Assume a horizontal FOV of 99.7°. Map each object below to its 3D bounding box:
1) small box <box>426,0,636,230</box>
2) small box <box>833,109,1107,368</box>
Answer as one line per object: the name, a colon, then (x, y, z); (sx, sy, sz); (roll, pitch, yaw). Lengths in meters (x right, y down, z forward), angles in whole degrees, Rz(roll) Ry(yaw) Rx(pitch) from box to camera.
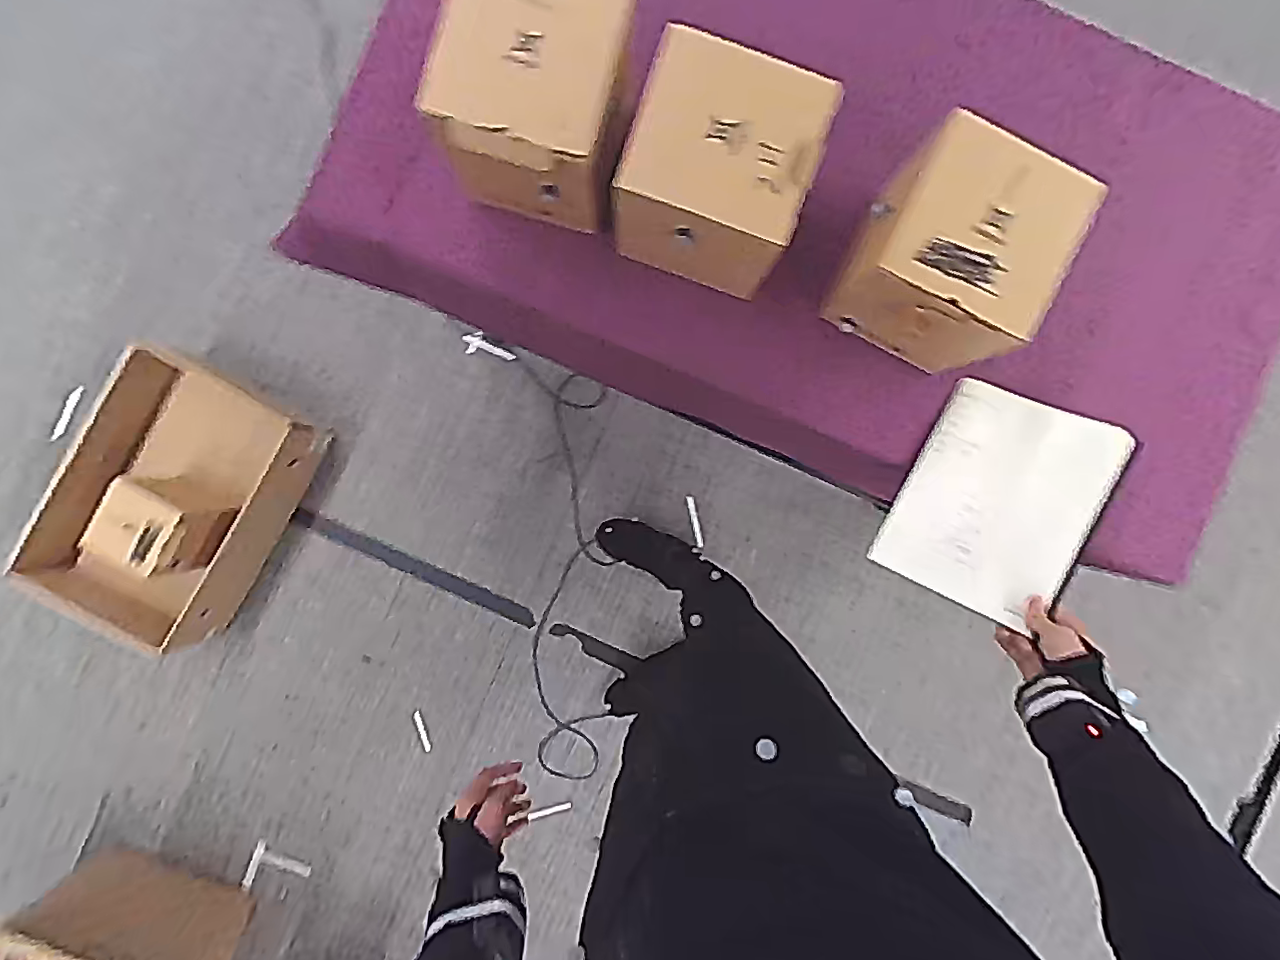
small box: (-0.104, -0.407, 0.593); (0.168, 0.176, 0.179); (16, 91, -2)
small box: (0.341, -0.245, 0.600); (0.168, 0.176, 0.179); (27, 90, -1)
